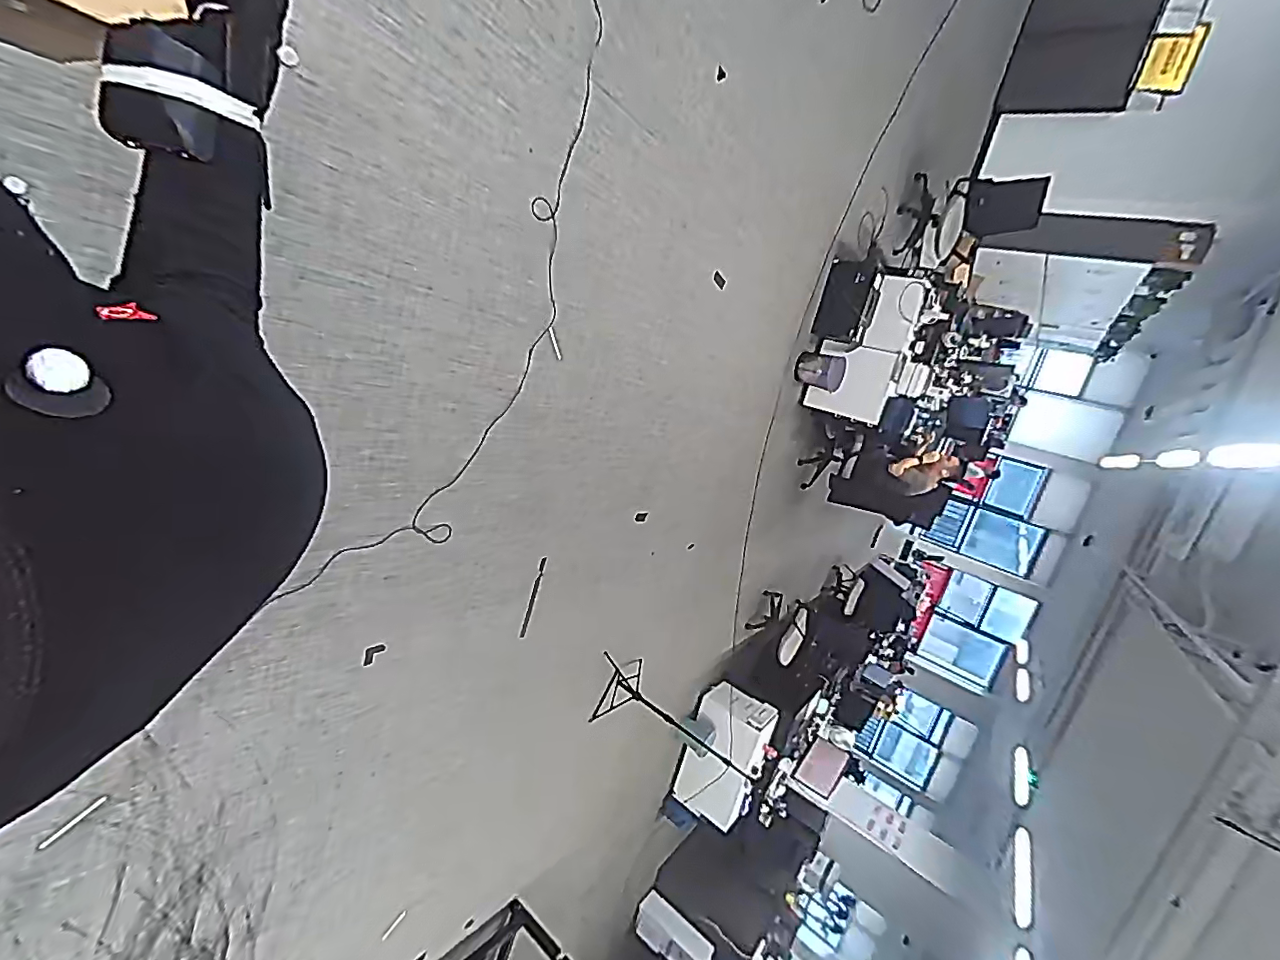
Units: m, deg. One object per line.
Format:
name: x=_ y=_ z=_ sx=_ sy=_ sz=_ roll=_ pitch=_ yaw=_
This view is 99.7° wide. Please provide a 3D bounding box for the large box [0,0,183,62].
large box: x=-0.496 y=-0.457 z=0.229 sx=0.408 sy=0.320 sz=0.320 roll=-8 pitch=119 yaw=-57
